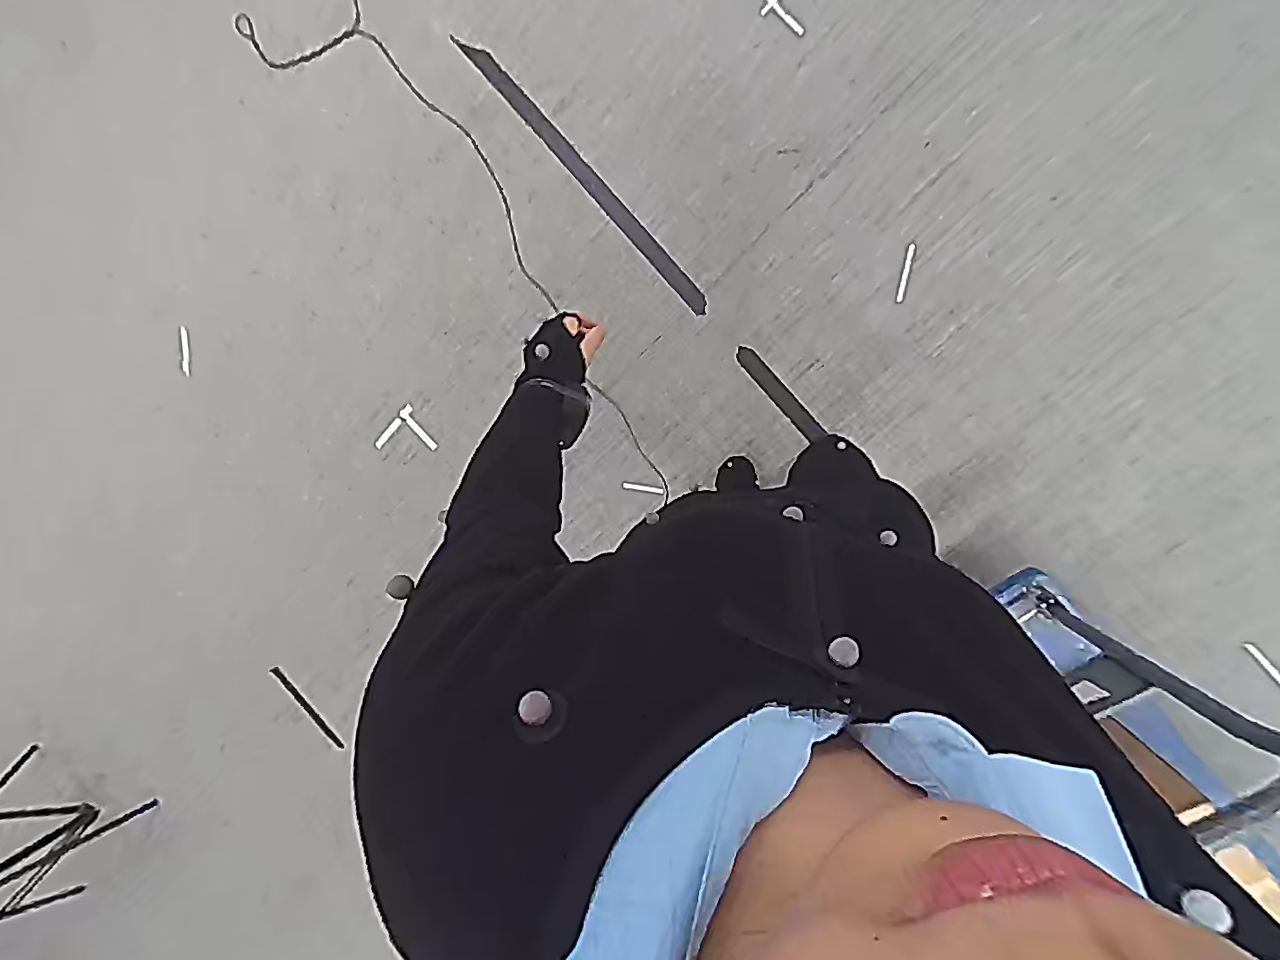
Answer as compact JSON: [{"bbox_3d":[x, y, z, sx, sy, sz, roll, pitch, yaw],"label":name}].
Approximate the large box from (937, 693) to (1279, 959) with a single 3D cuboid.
[{"bbox_3d":[0.918,0.723,1.103,0.408,0.320,0.320,-38,89,12],"label":"large box"}]
